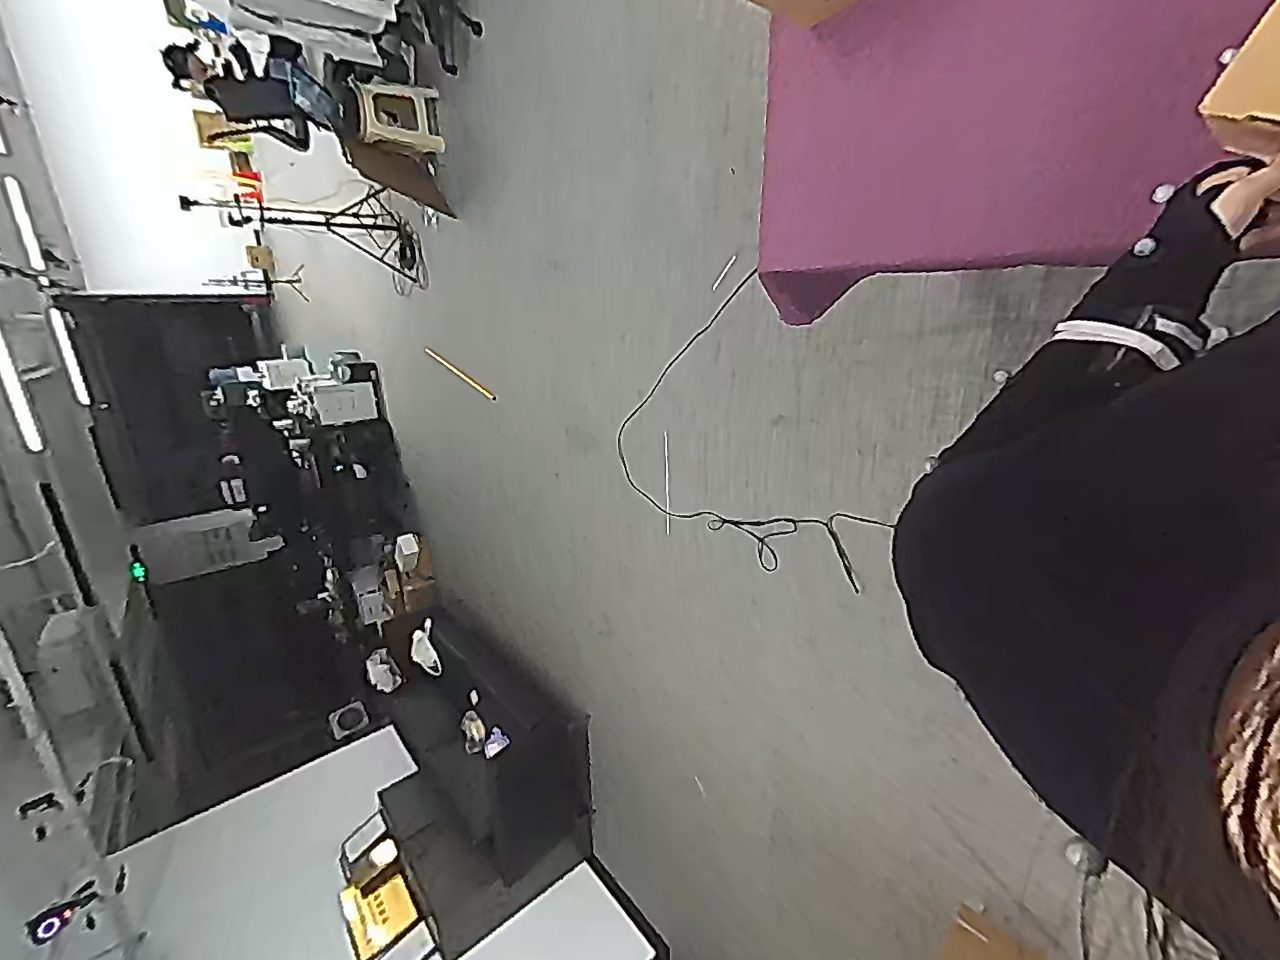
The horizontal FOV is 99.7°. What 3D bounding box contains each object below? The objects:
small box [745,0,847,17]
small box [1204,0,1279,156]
[{"bbox_3d":[0.230,-0.715,0.664,0.168,0.176,0.179,13,113,49],"label":"small box"},{"bbox_3d":[0.564,-0.326,0.376,0.168,0.176,0.179,44,134,34],"label":"small box"}]
